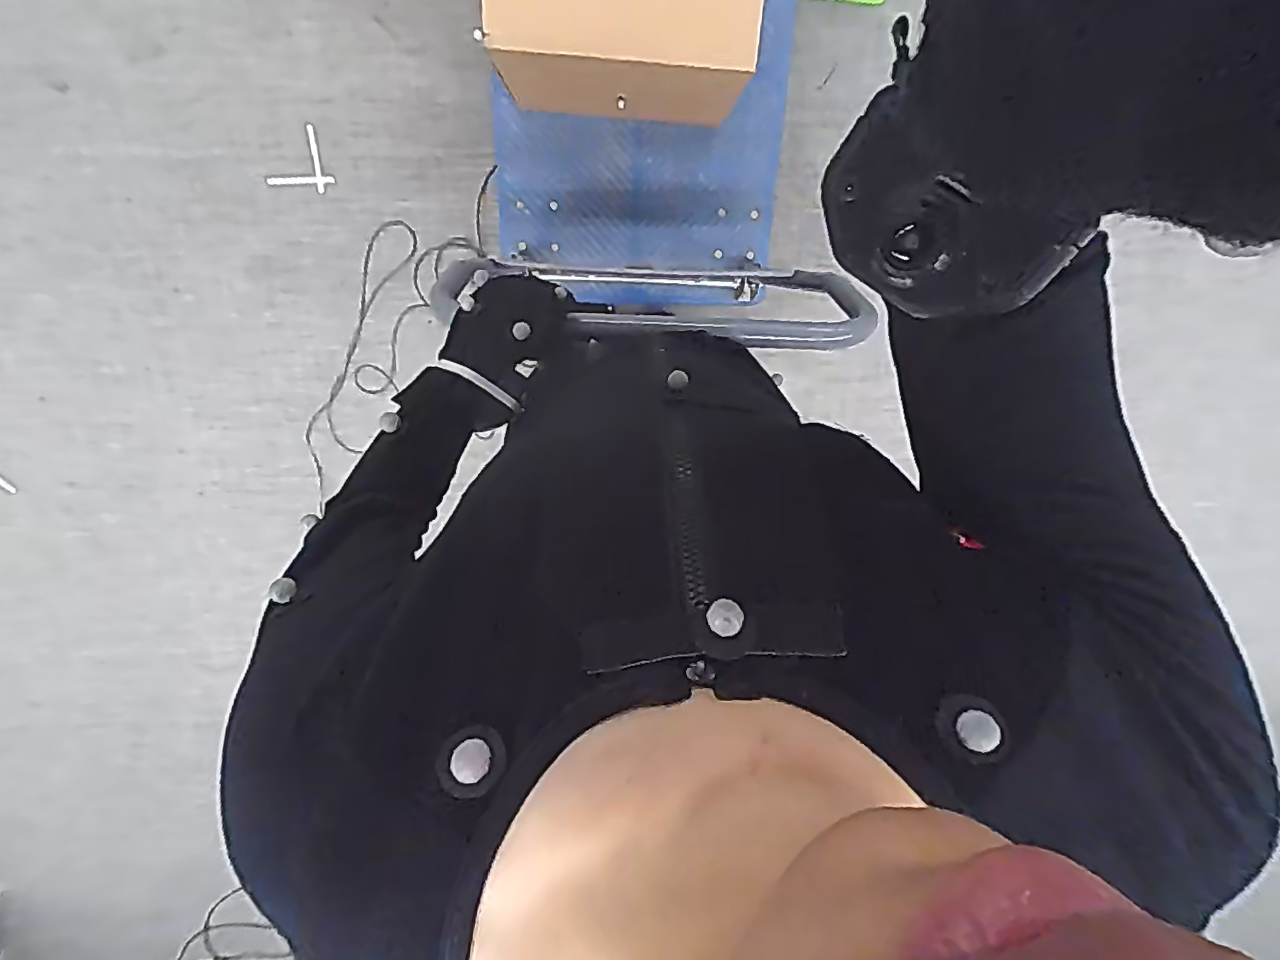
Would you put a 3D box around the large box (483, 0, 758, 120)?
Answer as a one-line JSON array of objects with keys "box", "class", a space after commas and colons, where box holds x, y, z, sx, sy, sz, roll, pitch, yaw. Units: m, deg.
[{"box": [-0.025, -0.817, 0.889, 0.408, 0.320, 0.320, 3, 110, -3], "class": "large box"}]
